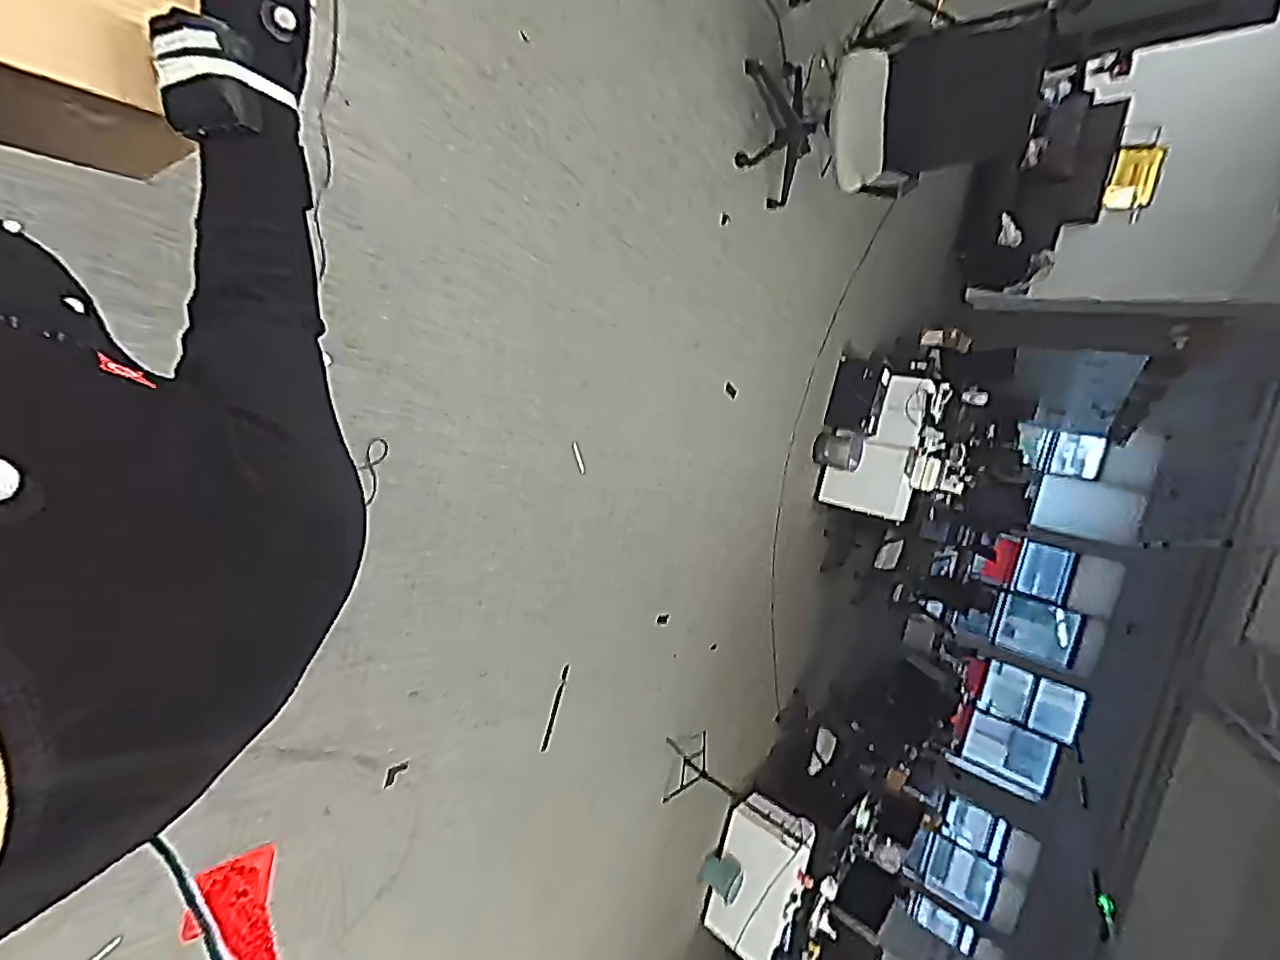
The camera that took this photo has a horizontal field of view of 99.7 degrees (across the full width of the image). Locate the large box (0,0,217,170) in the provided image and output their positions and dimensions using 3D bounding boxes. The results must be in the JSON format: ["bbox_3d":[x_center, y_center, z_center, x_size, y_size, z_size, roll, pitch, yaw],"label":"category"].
[{"bbox_3d":[-0.551,-0.432,0.321,0.408,0.320,0.320,-9,110,-50],"label":"large box"}]

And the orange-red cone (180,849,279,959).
[{"bbox_3d":[-0.995,1.173,1.377,0.198,0.360,0.199,6,97,-53],"label":"orange-red cone"}]
